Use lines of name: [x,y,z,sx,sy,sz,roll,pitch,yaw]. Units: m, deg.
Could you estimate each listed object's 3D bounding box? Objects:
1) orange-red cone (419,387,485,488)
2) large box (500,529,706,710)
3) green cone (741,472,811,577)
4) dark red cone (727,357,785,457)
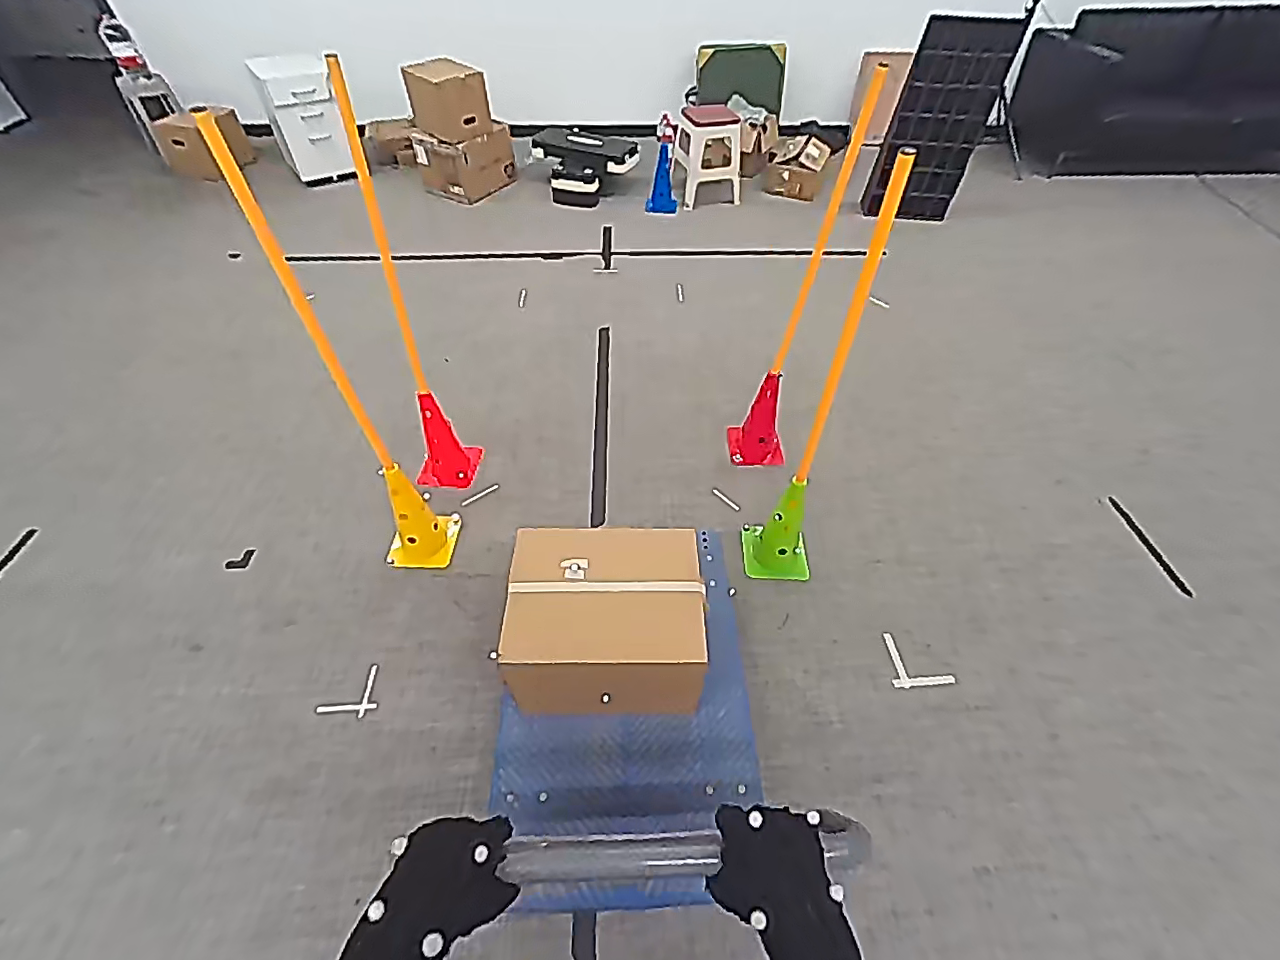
orange-red cone: [-0.681,-0.168,1.853,0.198,0.360,0.199,6,48,2]
large box: [-0.072,0.327,1.245,0.408,0.320,0.320,0,49,0]
green cone: [0.441,0.113,1.628,0.202,0.368,0.200,3,49,0]
dark red cone: [0.446,-0.266,1.931,0.201,0.394,0.202,0,50,-3]
